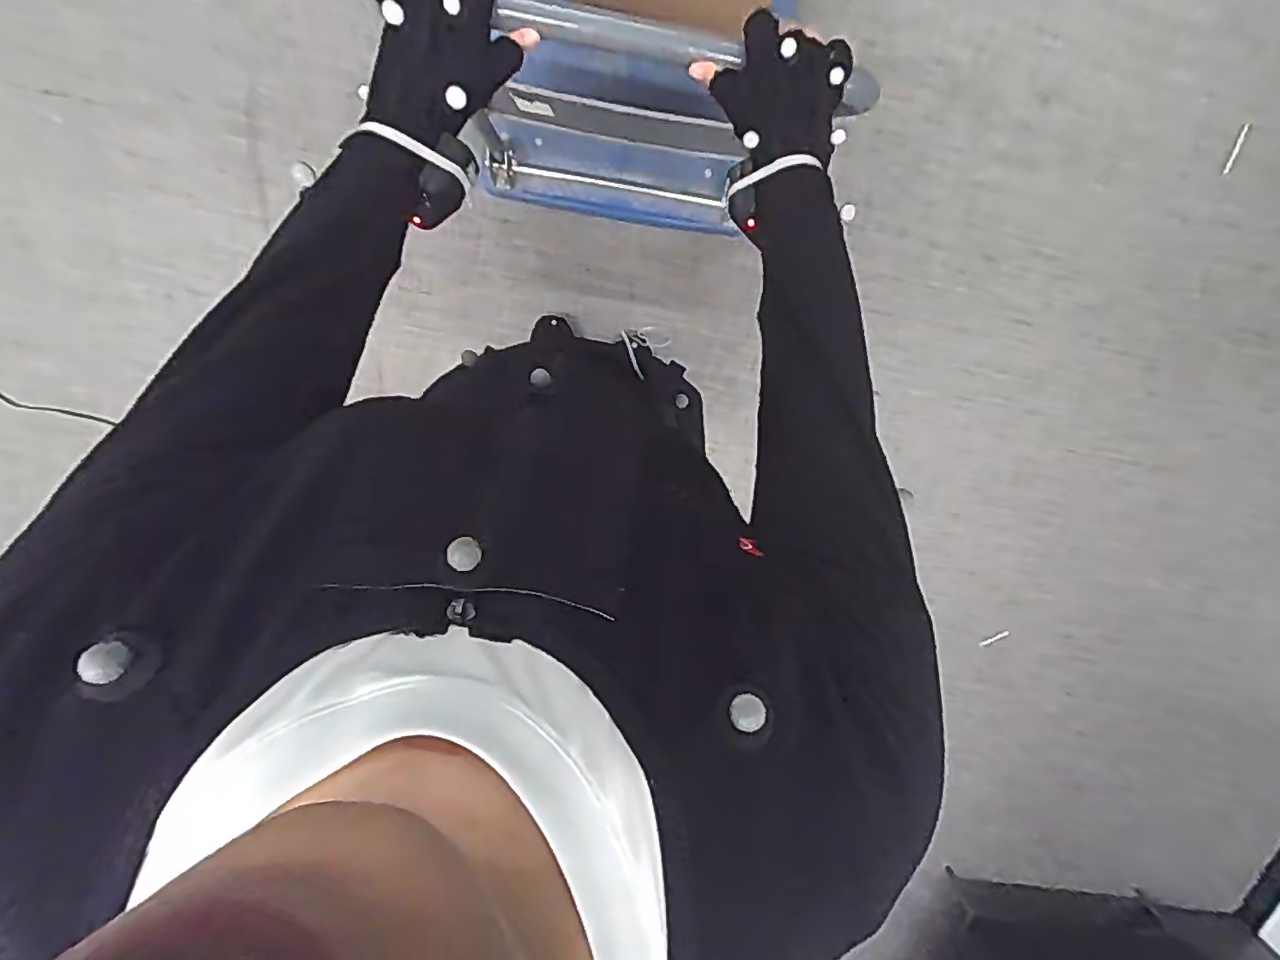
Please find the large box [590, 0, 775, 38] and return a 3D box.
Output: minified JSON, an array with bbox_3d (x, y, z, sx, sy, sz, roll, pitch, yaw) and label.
[{"bbox_3d":[0.060,-0.981,0.851,0.408,0.320,0.320,10,107,-5],"label":"large box"}]
